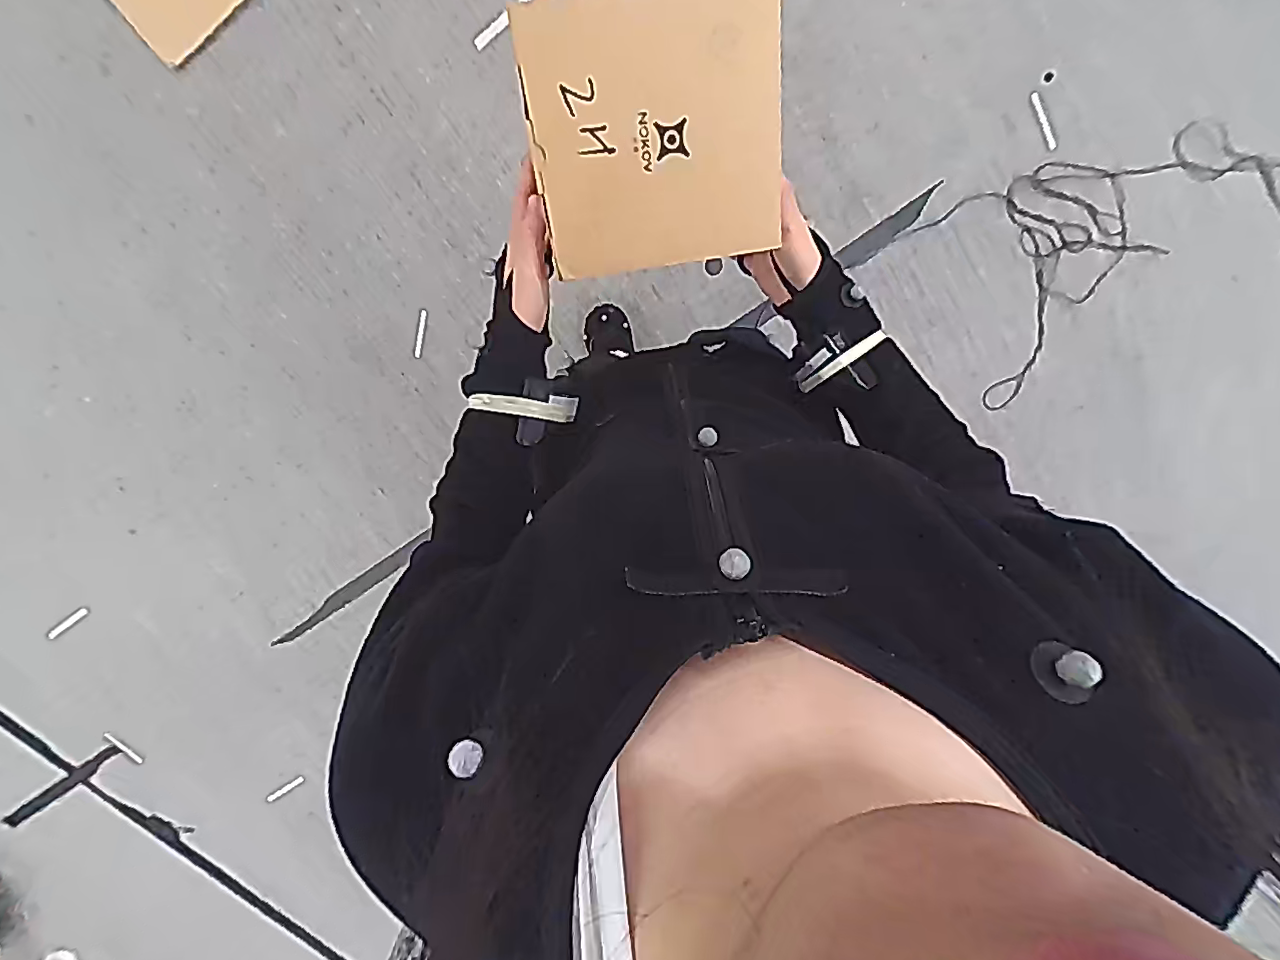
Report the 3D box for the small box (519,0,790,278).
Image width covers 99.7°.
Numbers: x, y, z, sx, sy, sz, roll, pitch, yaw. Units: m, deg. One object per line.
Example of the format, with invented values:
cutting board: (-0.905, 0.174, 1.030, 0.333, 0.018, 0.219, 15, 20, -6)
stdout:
small box: (0.008, -0.272, 0.441, 0.179, 0.176, 0.168, -9, 118, -3)
